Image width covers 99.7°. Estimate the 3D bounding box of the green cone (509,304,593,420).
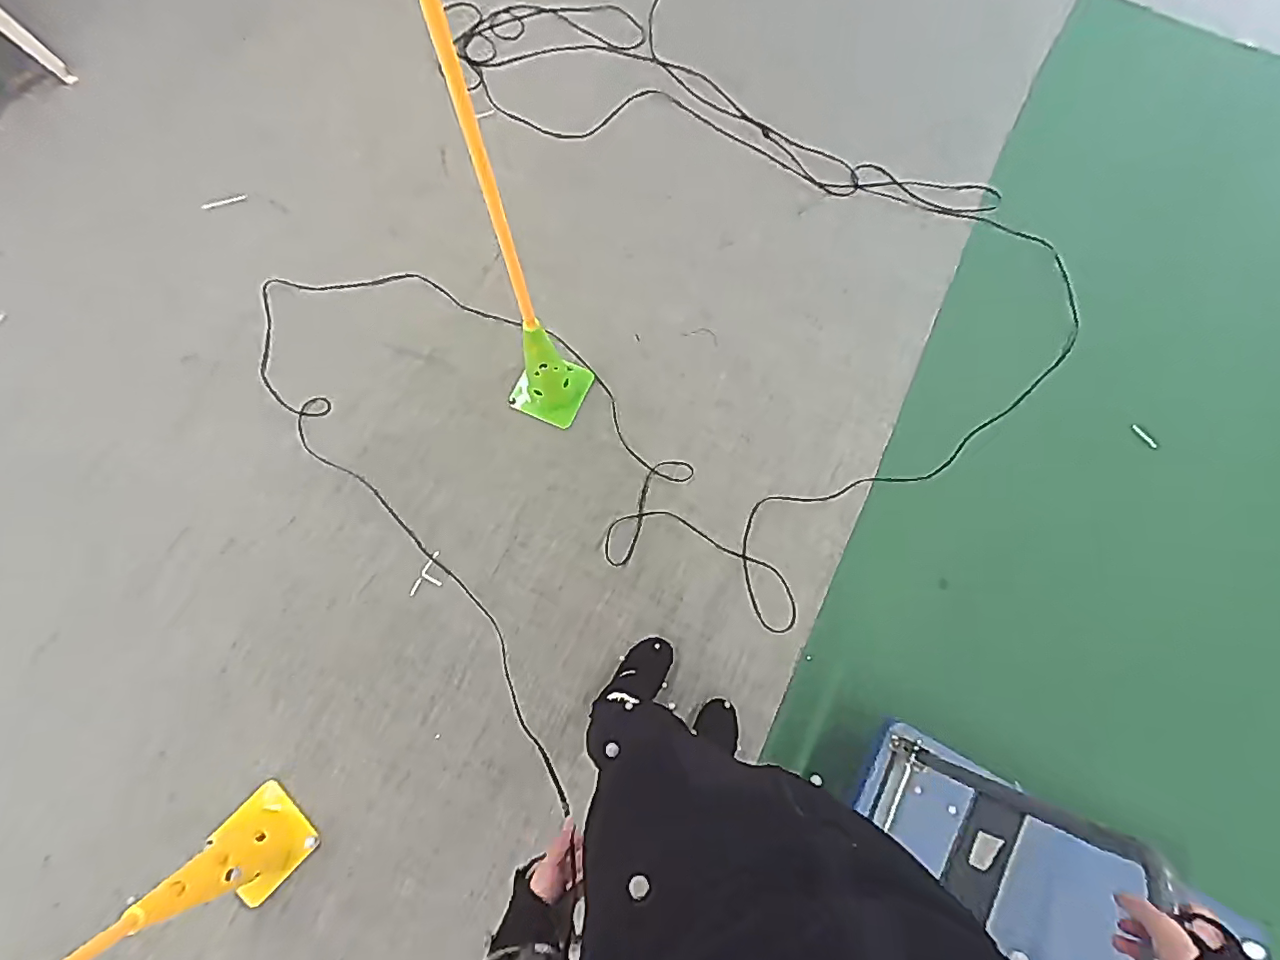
[{"bbox_3d":[-0.253,-0.335,1.414,0.200,0.368,0.202,23,75,4],"label":"green cone"}]
